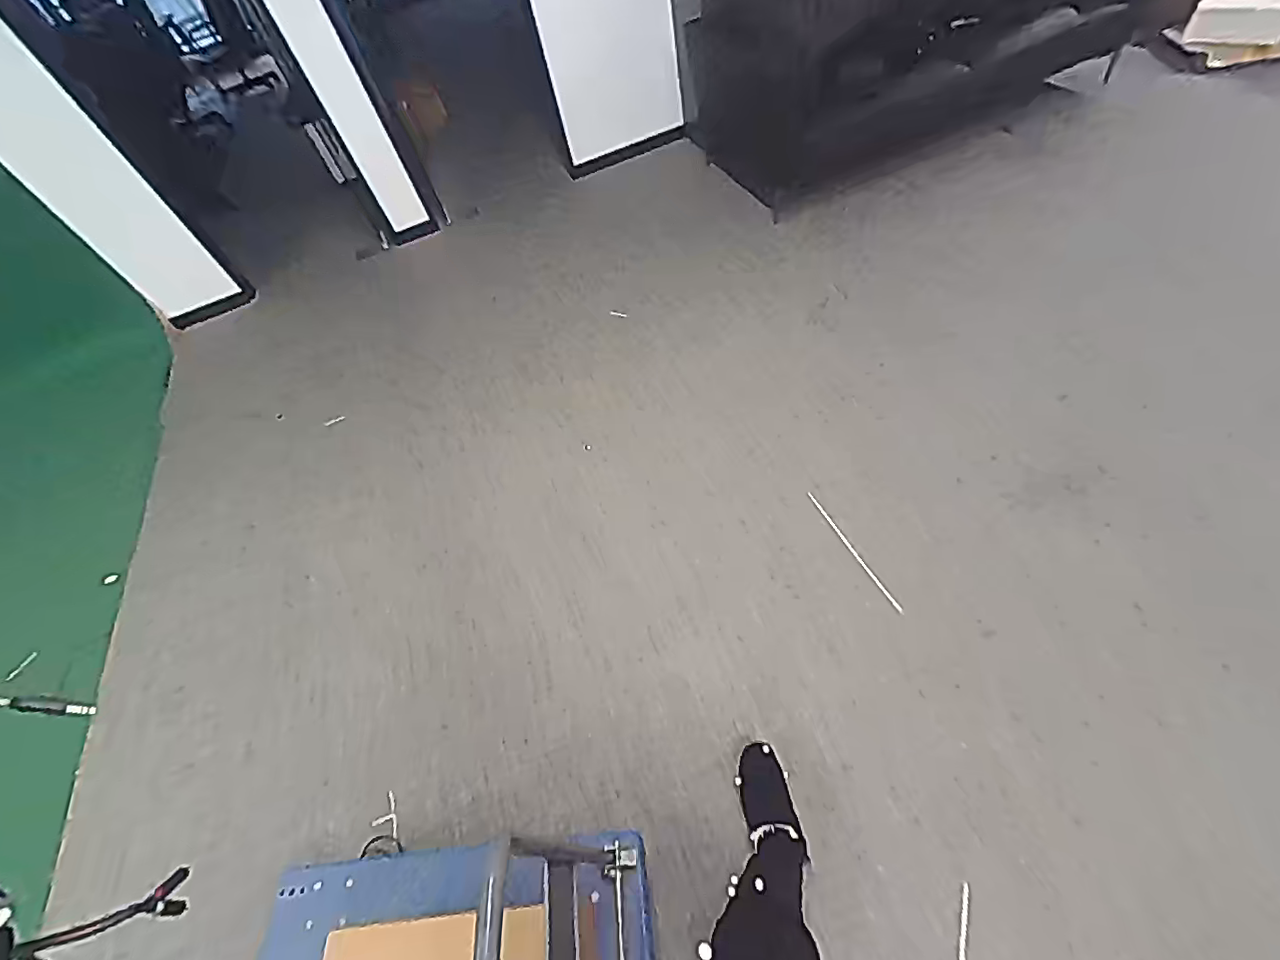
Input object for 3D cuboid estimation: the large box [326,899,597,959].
[{"bbox_3d":[-0.298,0.959,0.947,0.408,0.320,0.320,-11,52,6],"label":"large box"}]
